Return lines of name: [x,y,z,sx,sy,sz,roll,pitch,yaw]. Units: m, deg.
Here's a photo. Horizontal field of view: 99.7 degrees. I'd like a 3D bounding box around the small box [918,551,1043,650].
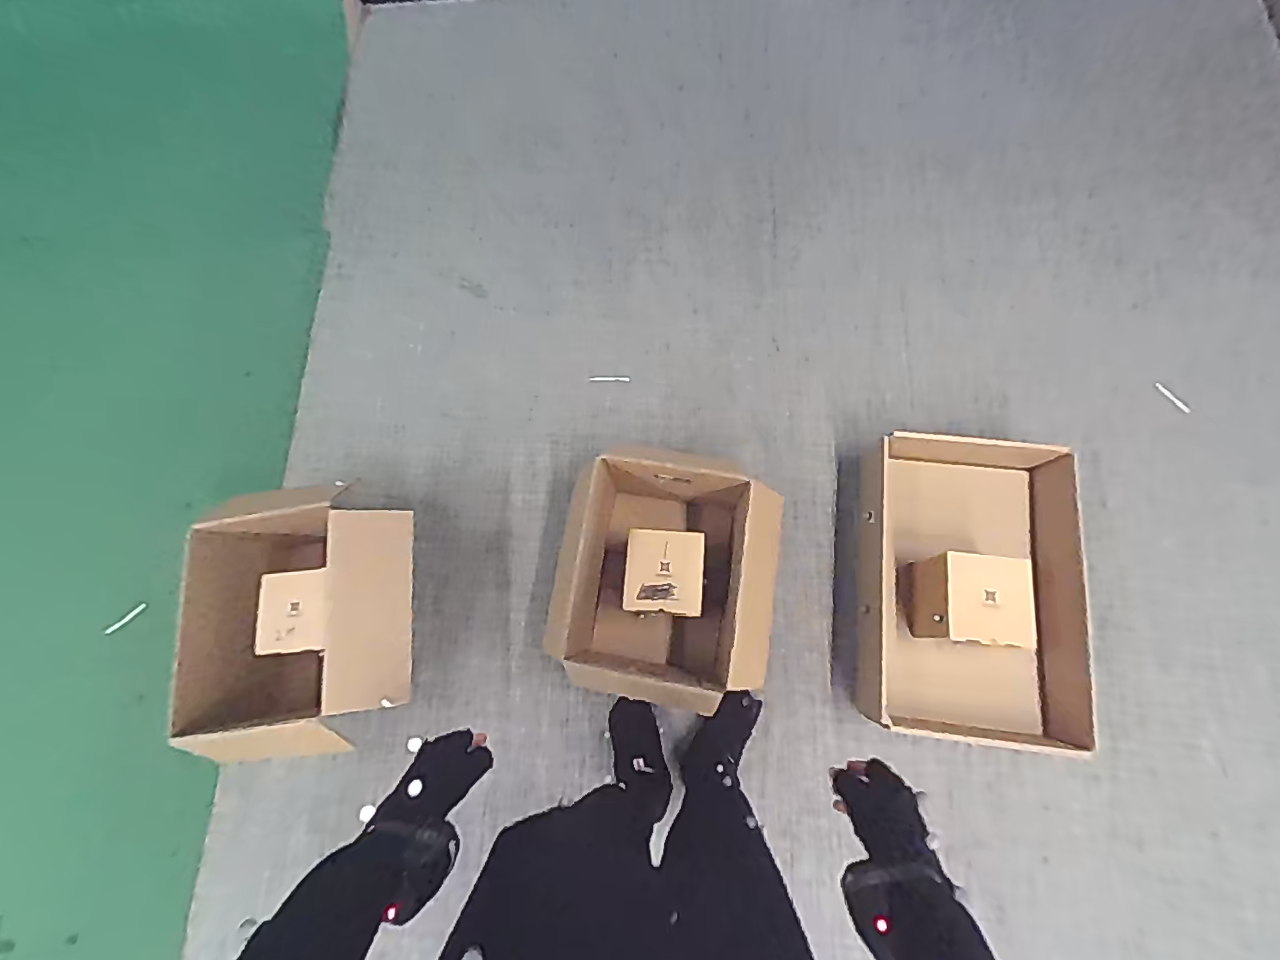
small box: [0.701,0.254,1.134,0.168,0.176,0.179,5,75,6]
